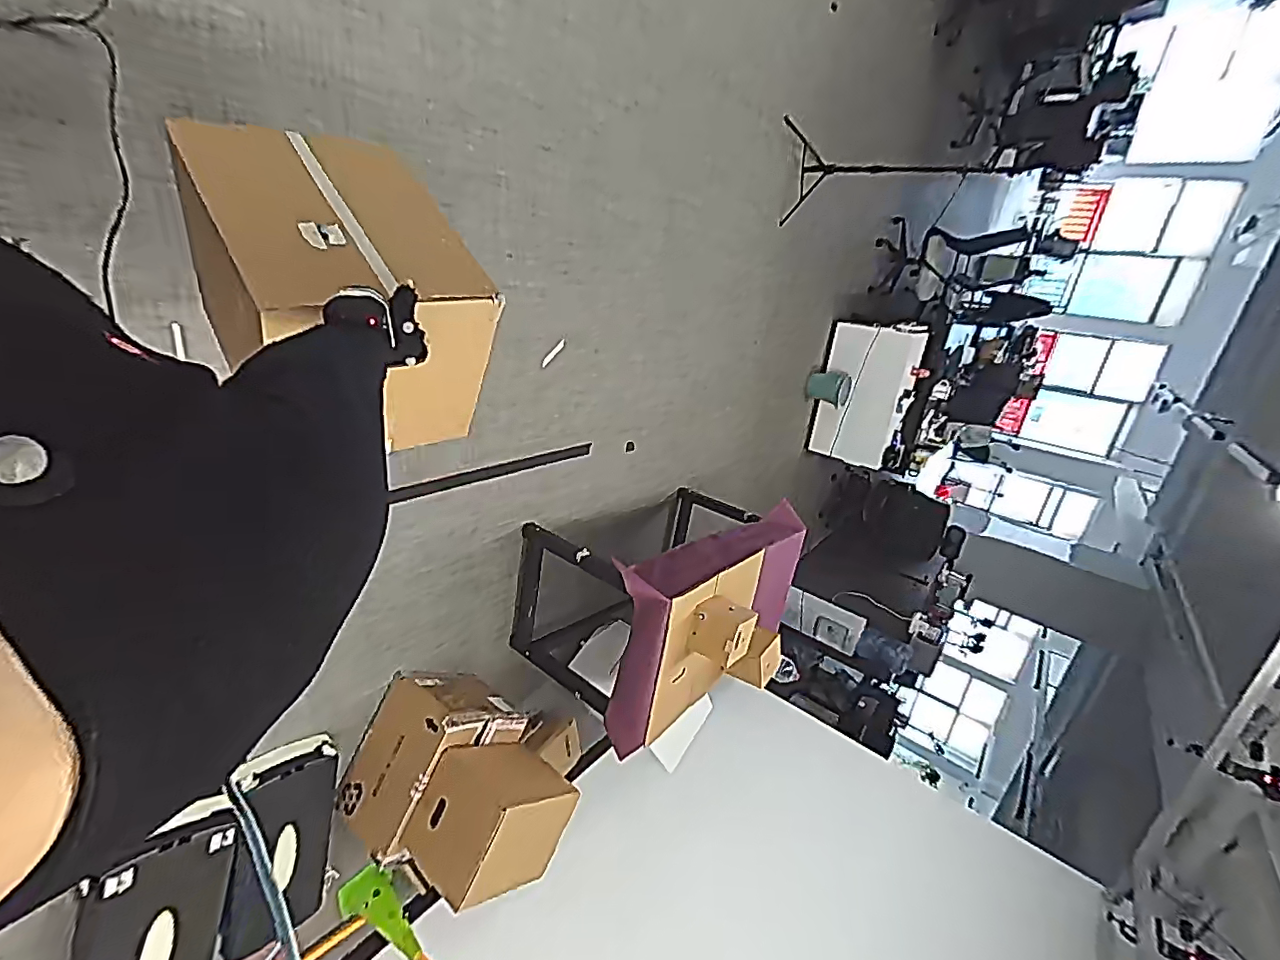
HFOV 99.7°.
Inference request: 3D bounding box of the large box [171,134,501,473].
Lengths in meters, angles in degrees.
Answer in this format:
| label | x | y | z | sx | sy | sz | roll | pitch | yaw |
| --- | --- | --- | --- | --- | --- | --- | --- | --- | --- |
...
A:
| label | x | y | z | sx | sy | sz | roll | pitch | yaw |
| --- | --- | --- | --- | --- | --- | --- | --- | --- | --- |
| large box | -0.494 | -0.284 | 0.891 | 0.320 | 0.408 | 0.320 | -21 | 156 | -40 |
